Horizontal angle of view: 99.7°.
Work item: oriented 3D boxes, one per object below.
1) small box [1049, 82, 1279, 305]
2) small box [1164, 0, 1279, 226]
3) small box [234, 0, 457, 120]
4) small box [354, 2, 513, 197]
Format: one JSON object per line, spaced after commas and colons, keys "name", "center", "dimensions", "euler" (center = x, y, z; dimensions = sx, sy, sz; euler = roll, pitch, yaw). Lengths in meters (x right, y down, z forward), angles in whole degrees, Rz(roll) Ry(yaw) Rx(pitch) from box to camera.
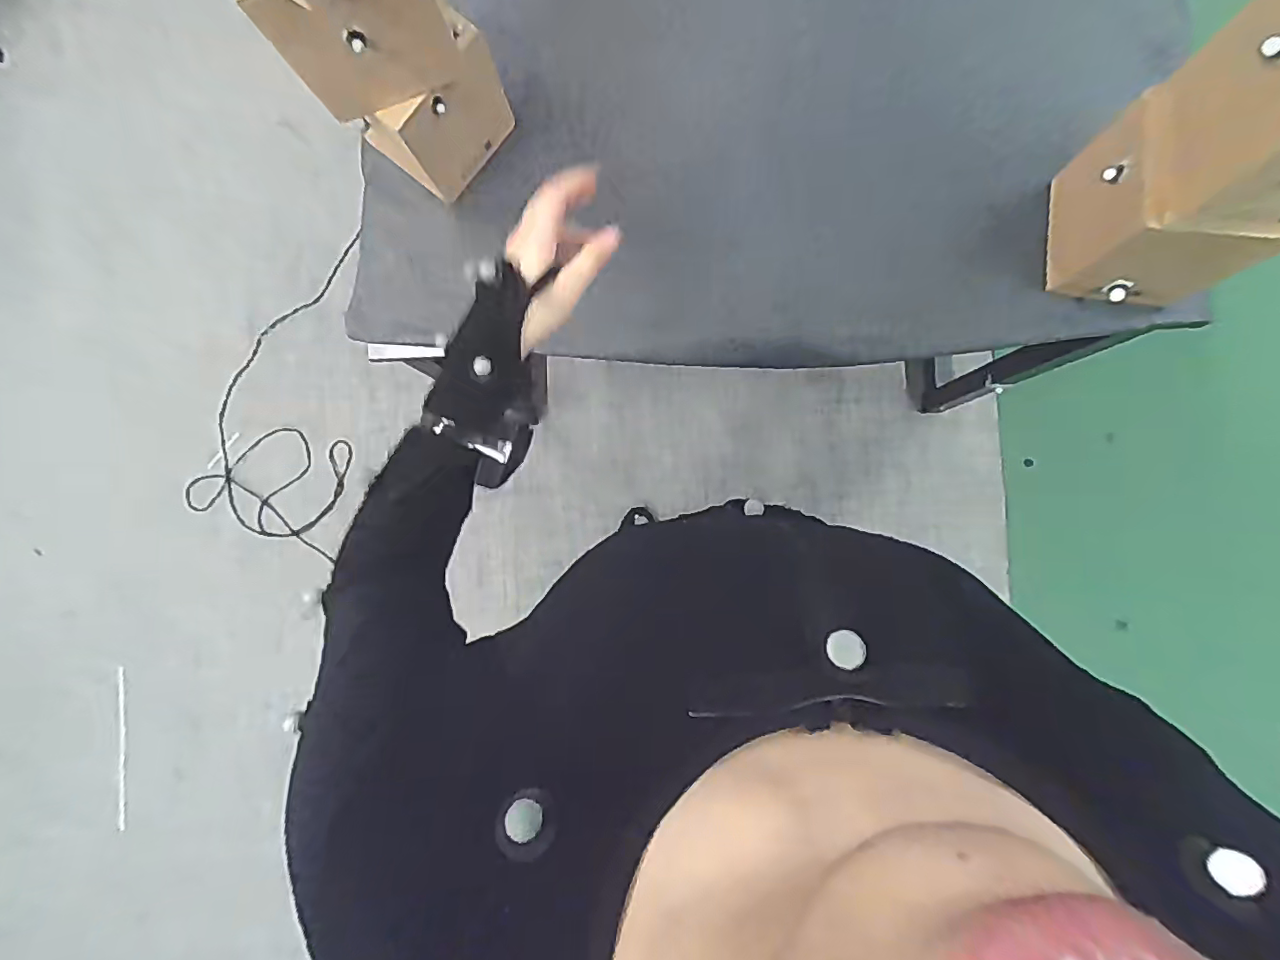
{"name": "small box", "center": [0.647, -0.342, 0.669], "dimensions": [0.168, 0.176, 0.179], "euler": [7, 84, 6]}
{"name": "small box", "center": [0.649, -0.361, 0.507], "dimensions": [0.168, 0.176, 0.179], "euler": [5, 83, 5]}
{"name": "small box", "center": [-0.321, -0.546, 0.589], "dimensions": [0.179, 0.176, 0.168], "euler": [-20, 86, 3]}
{"name": "small box", "center": [-0.310, -0.541, 0.754], "dimensions": [0.179, 0.176, 0.168], "euler": [39, 90, 5]}
